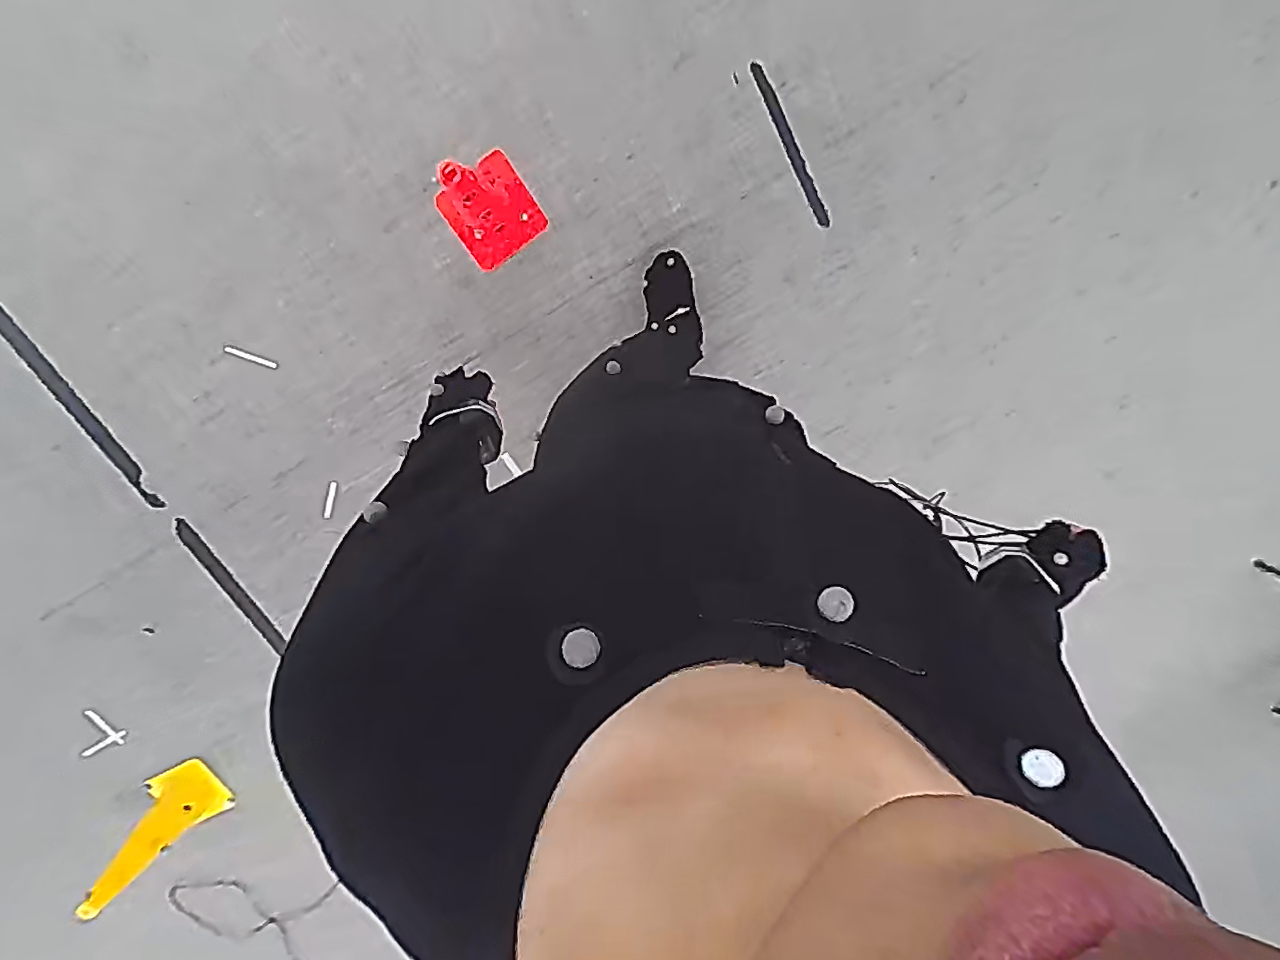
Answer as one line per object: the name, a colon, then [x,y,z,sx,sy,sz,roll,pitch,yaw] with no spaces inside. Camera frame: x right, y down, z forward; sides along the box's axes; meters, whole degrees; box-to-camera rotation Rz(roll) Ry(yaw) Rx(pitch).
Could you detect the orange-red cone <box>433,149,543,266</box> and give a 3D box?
orange-red cone: [-0.343,-0.585,1.090,0.198,0.360,0.199,-33,104,6]
